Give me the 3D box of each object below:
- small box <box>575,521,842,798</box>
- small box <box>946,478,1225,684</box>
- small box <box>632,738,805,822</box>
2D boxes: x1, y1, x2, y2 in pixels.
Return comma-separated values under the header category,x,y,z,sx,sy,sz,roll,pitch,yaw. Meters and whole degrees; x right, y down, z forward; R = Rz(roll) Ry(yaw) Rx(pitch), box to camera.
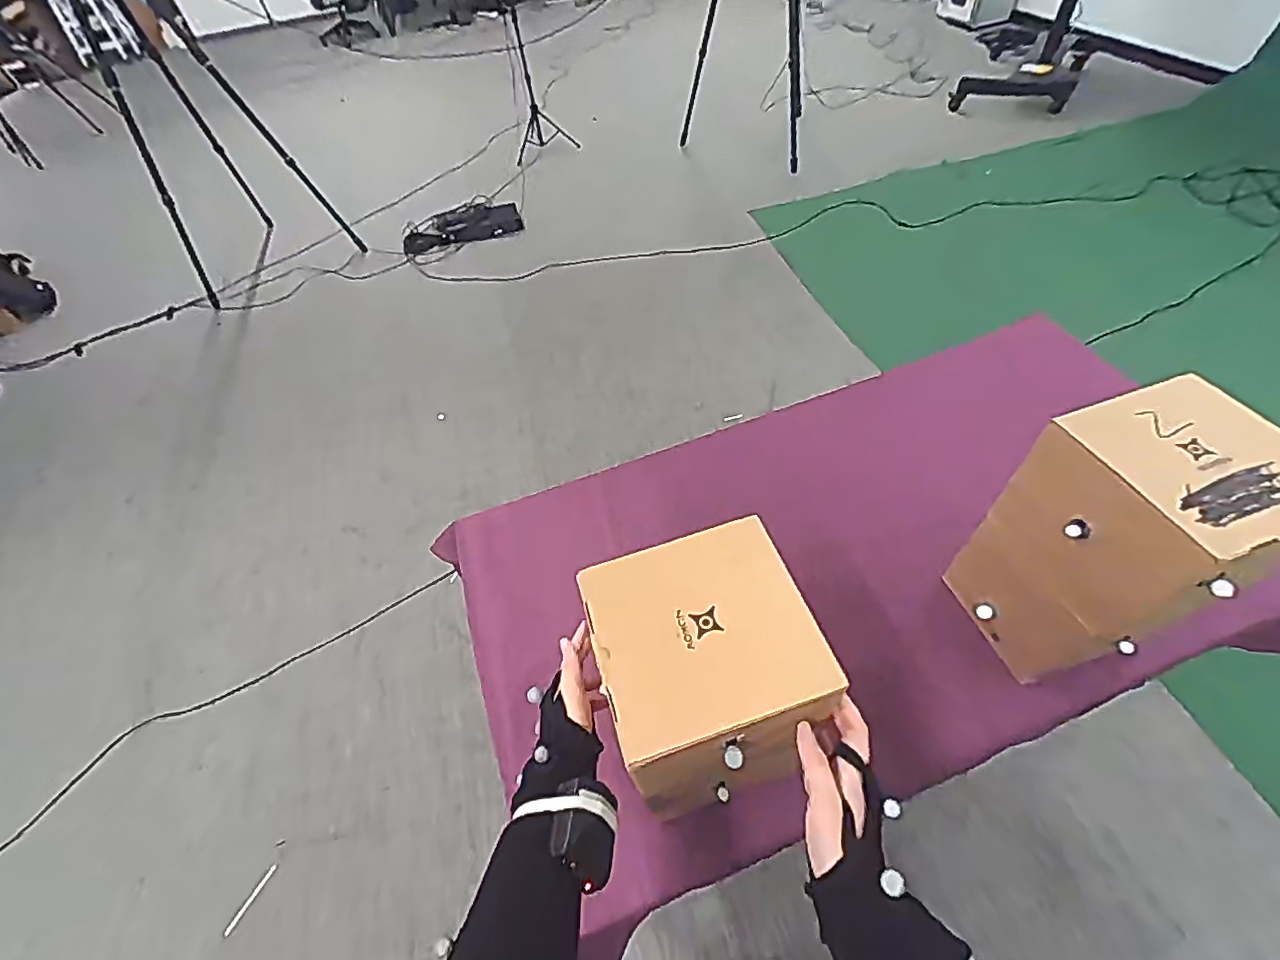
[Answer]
category,x,y,z,sx,sy,sz,roll,pitch,yaw
small box,0.055,0.170,0.502,0.179,0.176,0.168,-18,52,-5
small box,0.531,0.130,0.679,0.179,0.176,0.168,-18,51,-5
small box,0.068,0.273,0.628,0.179,0.176,0.168,-17,52,-6
